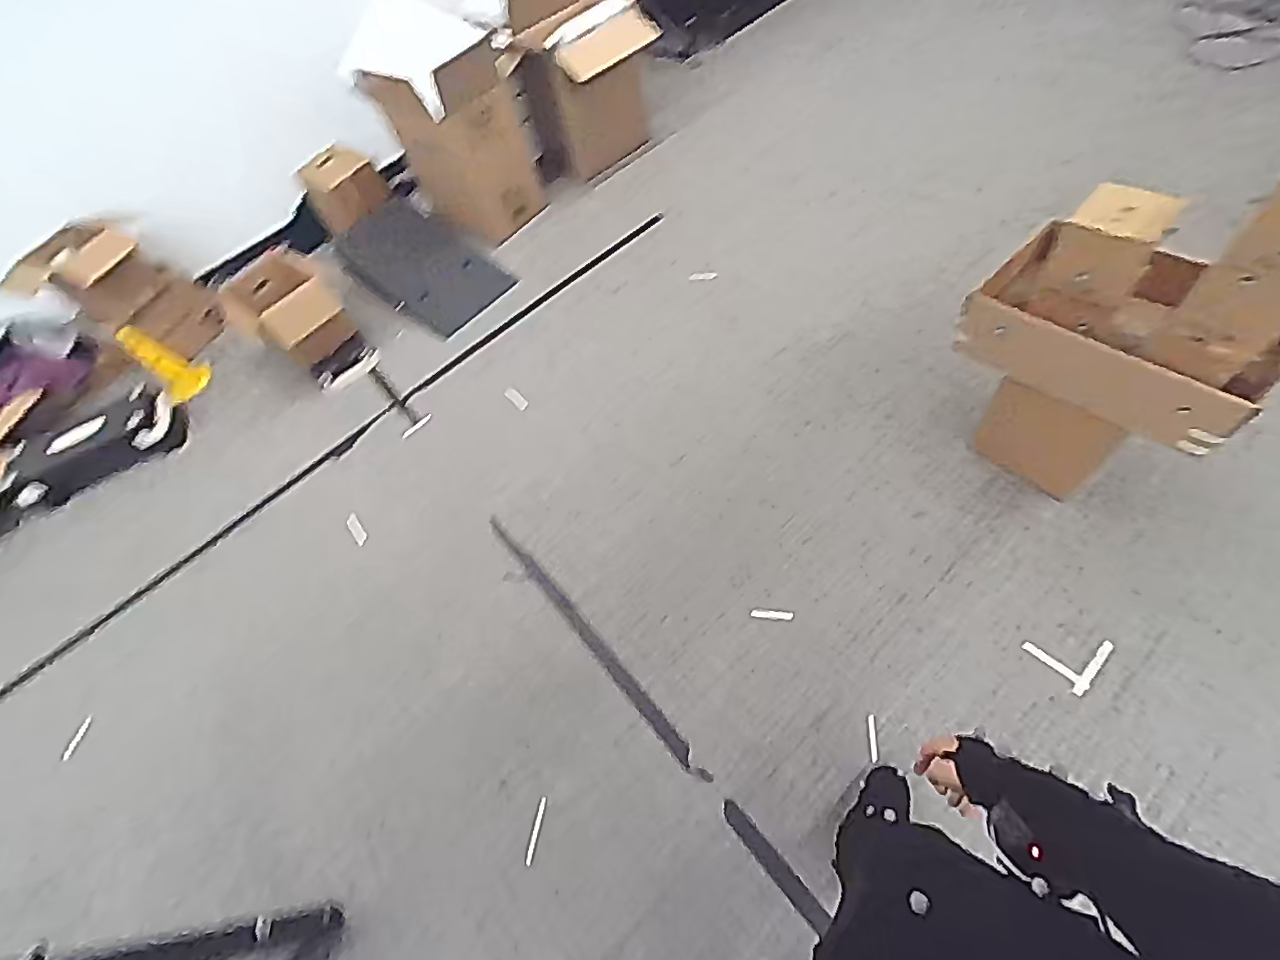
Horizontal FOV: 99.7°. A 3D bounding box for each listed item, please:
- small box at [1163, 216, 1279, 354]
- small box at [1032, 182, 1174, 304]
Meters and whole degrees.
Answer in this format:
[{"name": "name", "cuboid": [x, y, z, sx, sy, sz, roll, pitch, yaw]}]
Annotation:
[{"name": "small box", "cuboid": [1.240, -0.395, 1.103, 0.179, 0.176, 0.168, -38, 57, -14]}, {"name": "small box", "cuboid": [1.051, -0.542, 1.244, 0.168, 0.176, 0.179, 36, 71, 28]}]
